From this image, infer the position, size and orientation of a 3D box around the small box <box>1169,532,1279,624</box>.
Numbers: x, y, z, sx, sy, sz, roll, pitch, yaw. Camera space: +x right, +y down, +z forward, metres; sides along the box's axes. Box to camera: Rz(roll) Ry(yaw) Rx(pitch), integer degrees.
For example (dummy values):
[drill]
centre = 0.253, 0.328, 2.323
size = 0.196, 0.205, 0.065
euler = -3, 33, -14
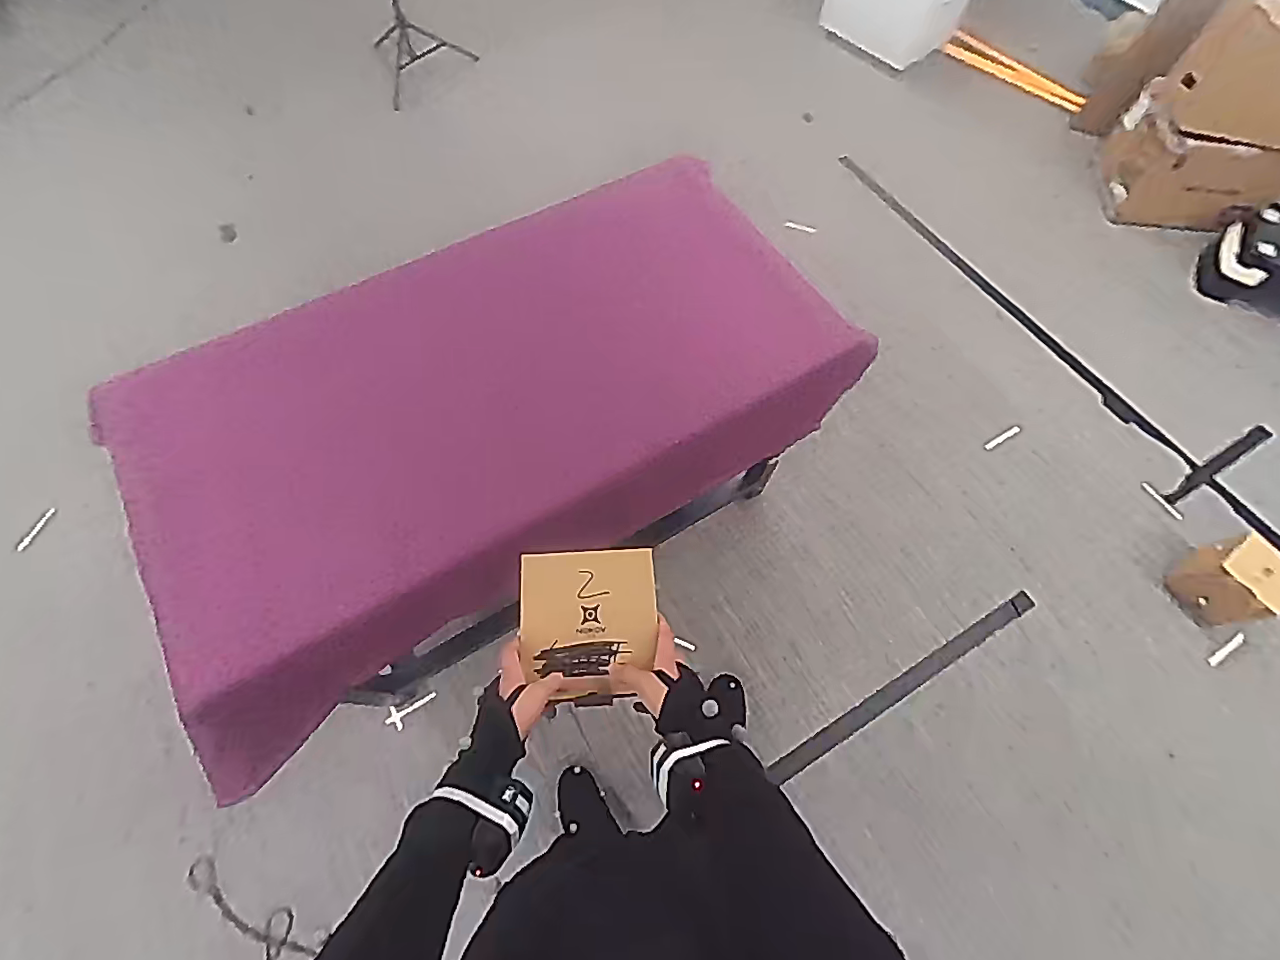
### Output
[small box]
centre = 1.641, 0.274, 1.493
size = 0.179, 0.176, 0.168
euler = -32, 71, -13
